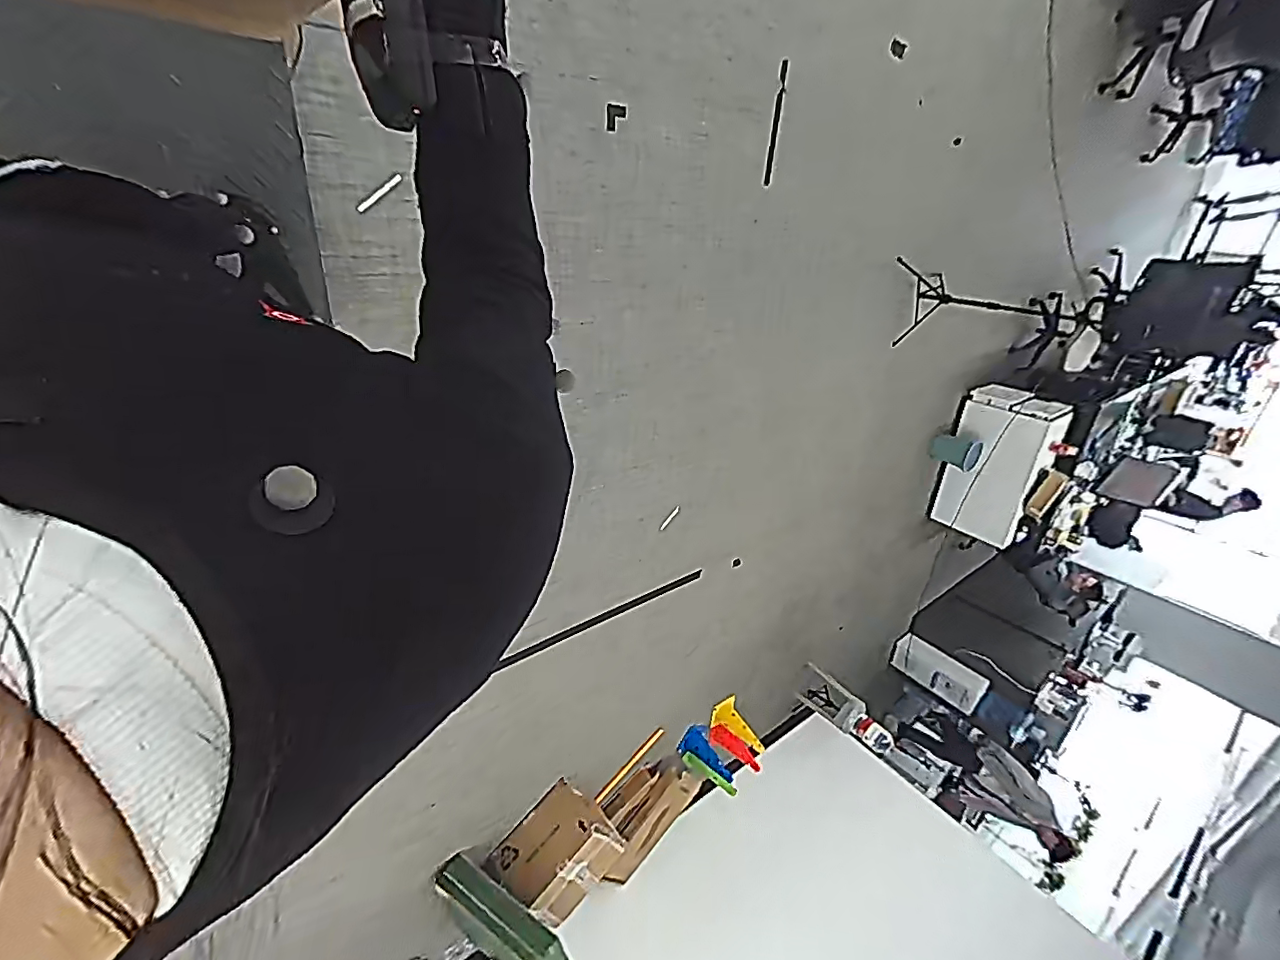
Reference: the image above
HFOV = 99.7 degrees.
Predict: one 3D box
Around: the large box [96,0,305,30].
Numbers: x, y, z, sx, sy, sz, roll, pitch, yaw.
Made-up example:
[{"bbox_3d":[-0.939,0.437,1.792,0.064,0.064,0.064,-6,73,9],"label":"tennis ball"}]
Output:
[{"bbox_3d":[-0.385,-0.428,0.209,0.408,0.320,0.320,-18,127,-36],"label":"large box"}]
